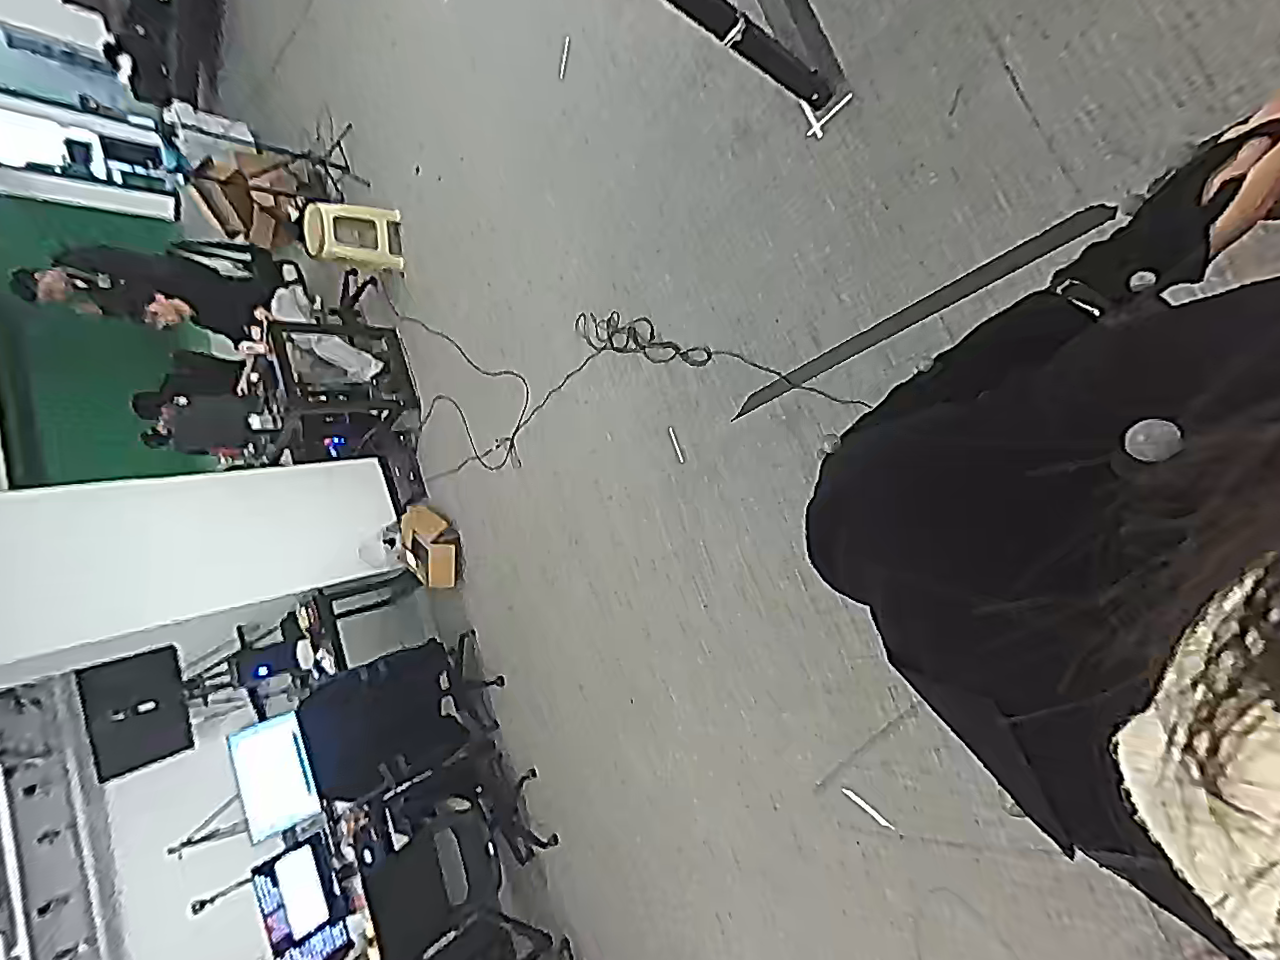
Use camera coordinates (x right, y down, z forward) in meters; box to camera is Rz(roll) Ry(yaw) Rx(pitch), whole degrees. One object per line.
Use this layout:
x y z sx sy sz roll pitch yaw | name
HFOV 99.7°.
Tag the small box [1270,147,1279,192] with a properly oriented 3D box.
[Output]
0.452 -0.223 0.237 0.179 0.176 0.168 26 119 35 | small box
